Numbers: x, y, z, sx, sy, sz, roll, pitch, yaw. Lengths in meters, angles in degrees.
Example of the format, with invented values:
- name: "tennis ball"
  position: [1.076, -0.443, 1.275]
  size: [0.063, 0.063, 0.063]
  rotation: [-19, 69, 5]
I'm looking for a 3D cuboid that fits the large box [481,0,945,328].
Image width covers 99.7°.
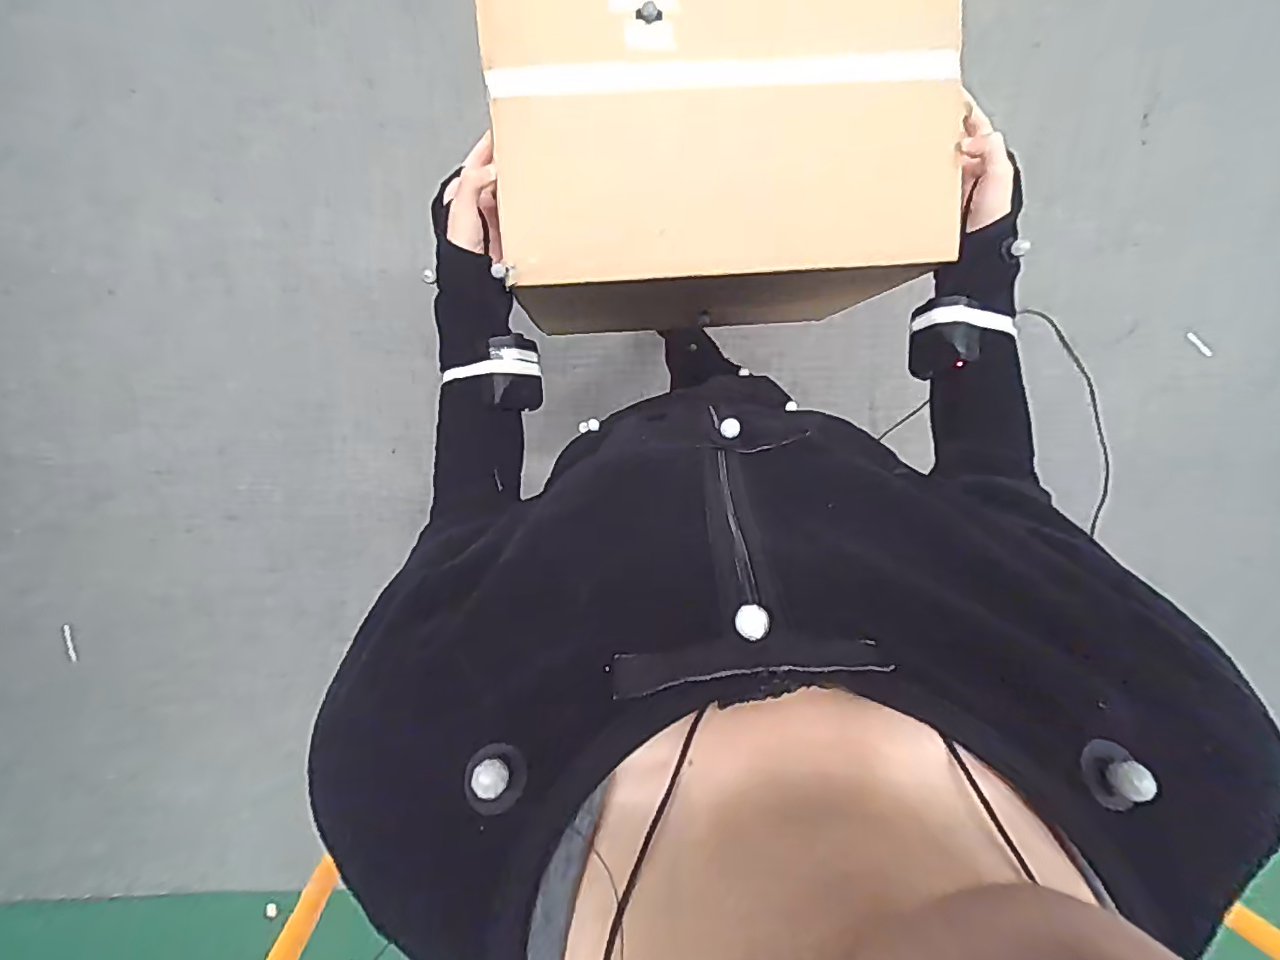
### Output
- name: "large box"
  position: [0.064, -0.361, 0.616]
  size: [0.408, 0.320, 0.320]
  rotation: [-5, 97, -2]
